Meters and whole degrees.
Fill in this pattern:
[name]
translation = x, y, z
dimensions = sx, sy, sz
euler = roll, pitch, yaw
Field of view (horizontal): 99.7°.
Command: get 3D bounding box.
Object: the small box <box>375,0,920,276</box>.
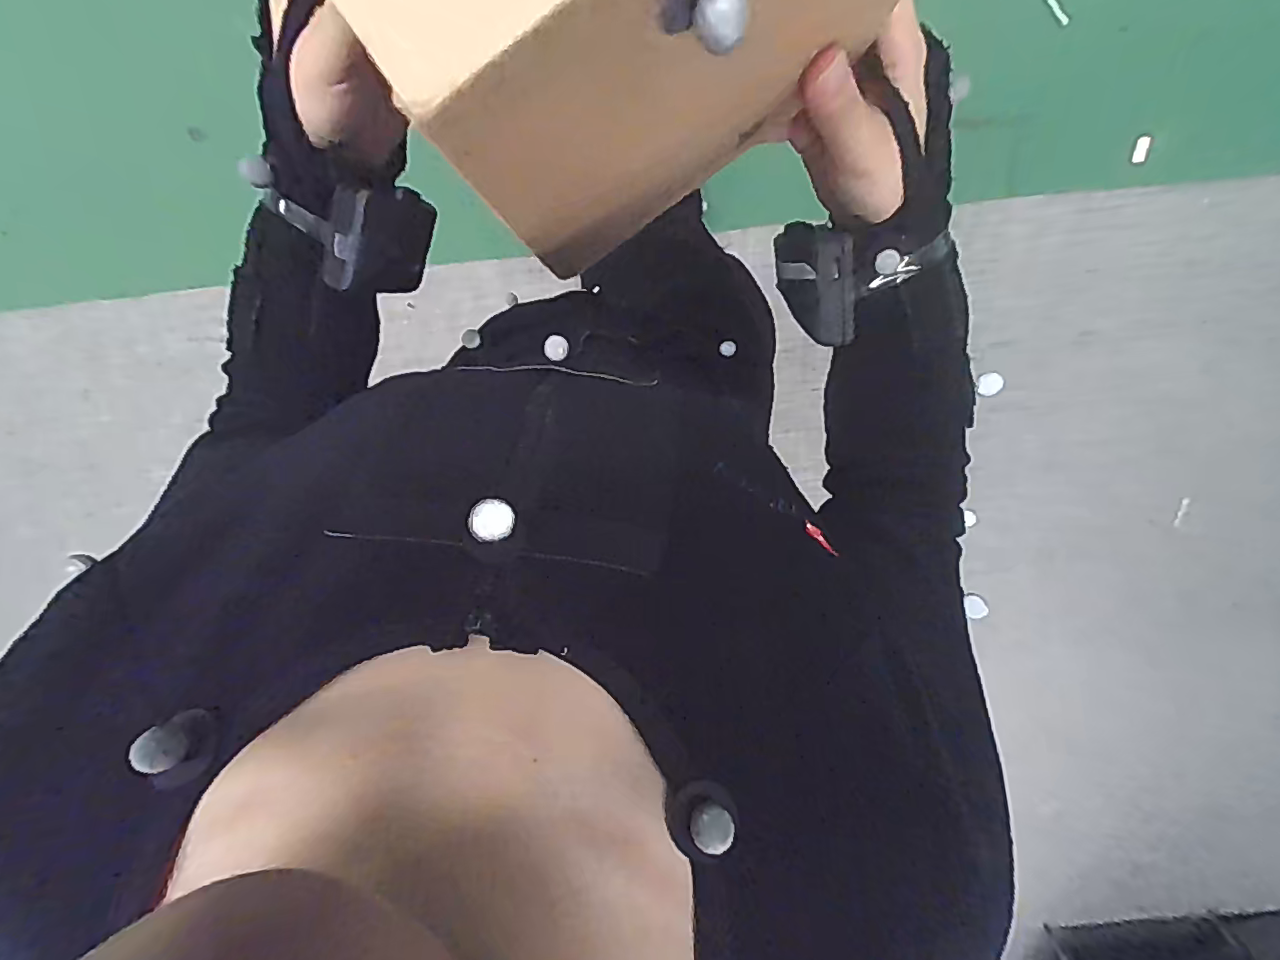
[small box]
translation = -0.012, -0.195, 0.170
dimensions = 0.168, 0.176, 0.179
euler = -34, 97, 7
